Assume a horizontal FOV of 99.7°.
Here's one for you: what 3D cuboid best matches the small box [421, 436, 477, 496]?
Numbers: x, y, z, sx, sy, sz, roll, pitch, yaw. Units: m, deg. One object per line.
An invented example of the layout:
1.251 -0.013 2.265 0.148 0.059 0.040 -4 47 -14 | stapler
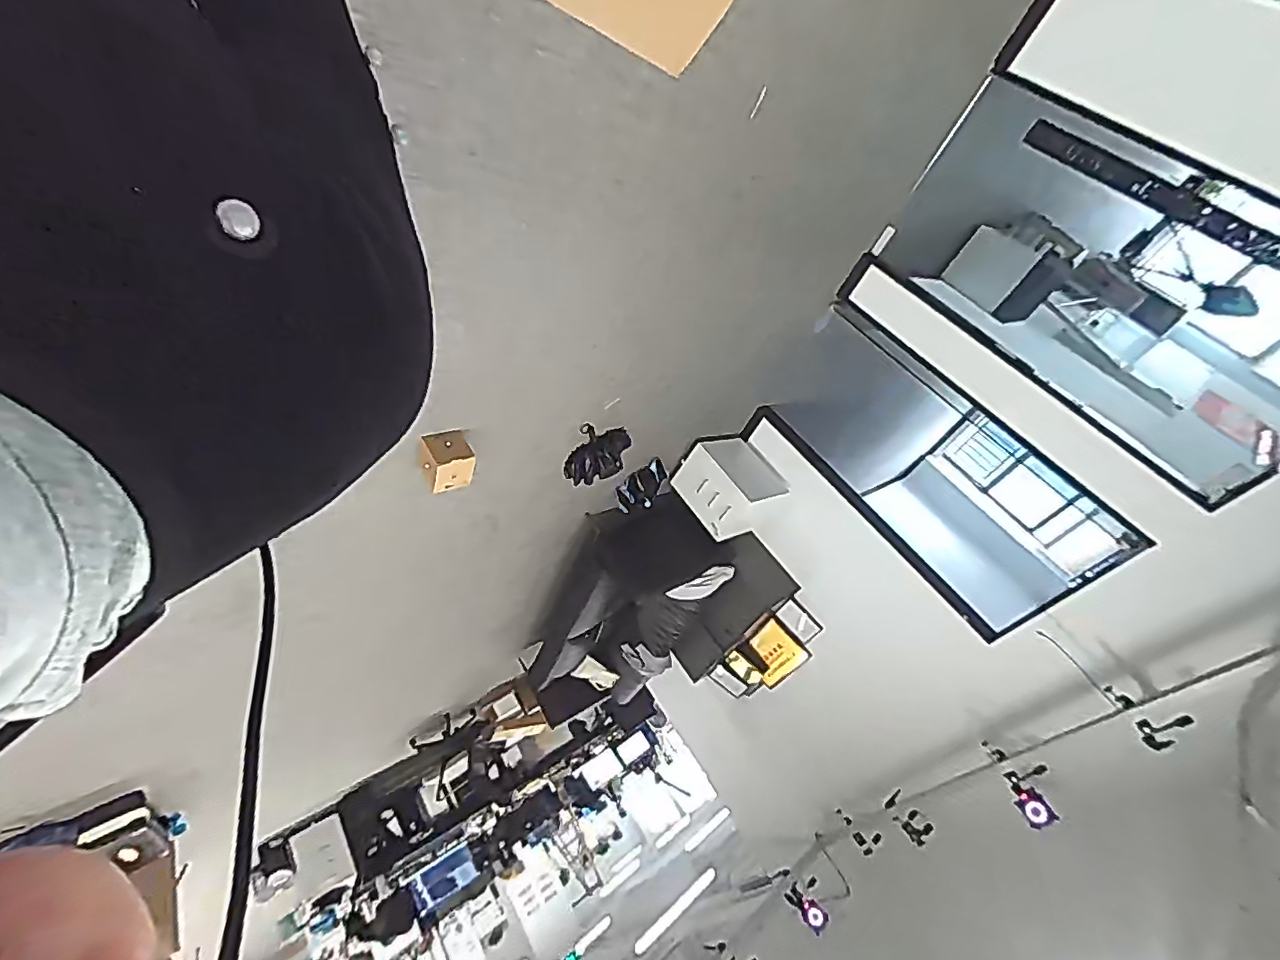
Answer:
-0.806 -0.067 2.270 0.168 0.176 0.179 -18 148 -38 | small box
